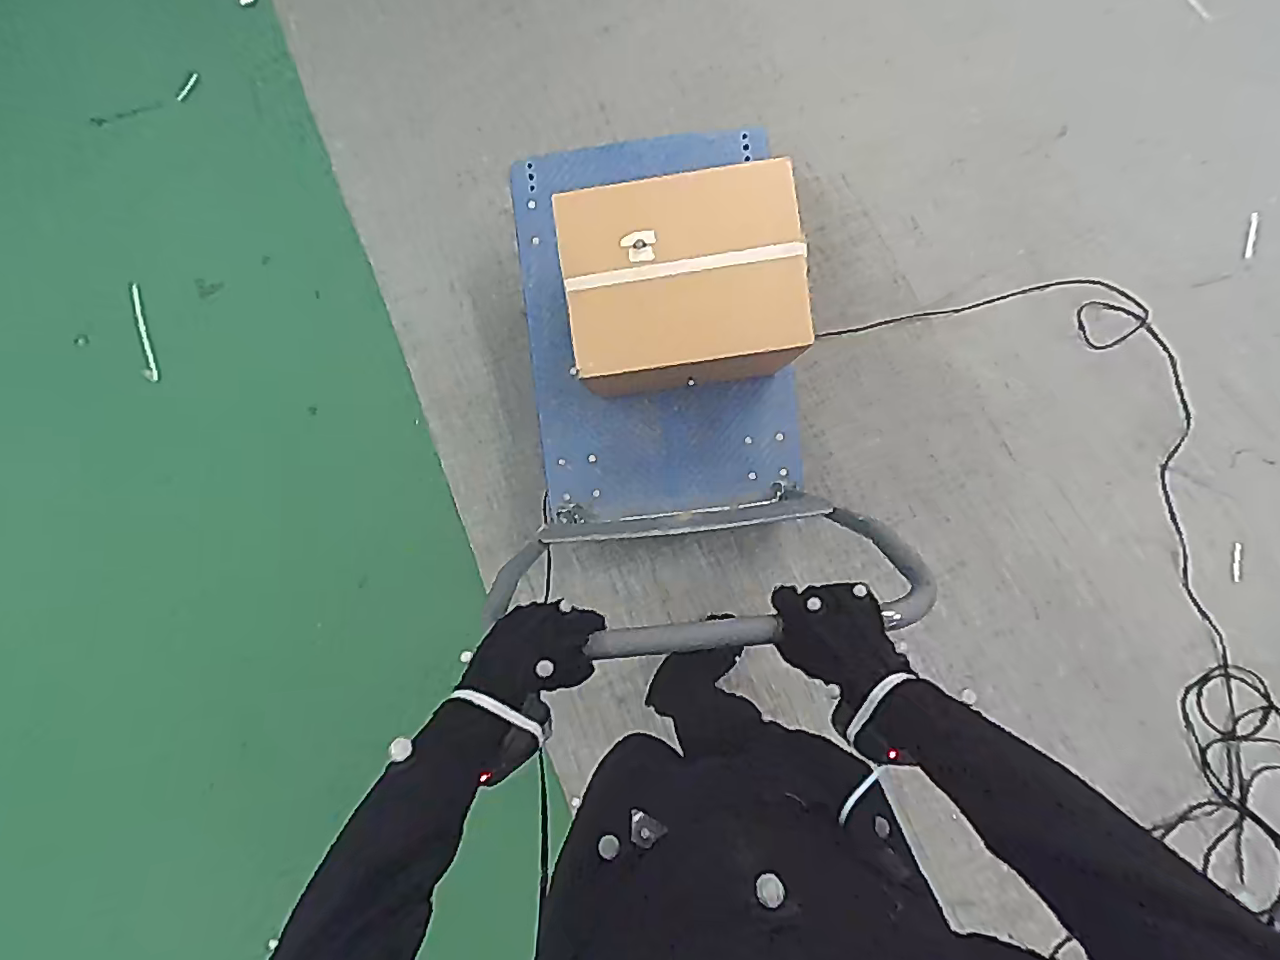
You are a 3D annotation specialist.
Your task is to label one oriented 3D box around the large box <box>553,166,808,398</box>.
[{"bbox_3d":[0.077,-0.354,1.069,0.408,0.320,0.320,-8,92,4],"label":"large box"}]
